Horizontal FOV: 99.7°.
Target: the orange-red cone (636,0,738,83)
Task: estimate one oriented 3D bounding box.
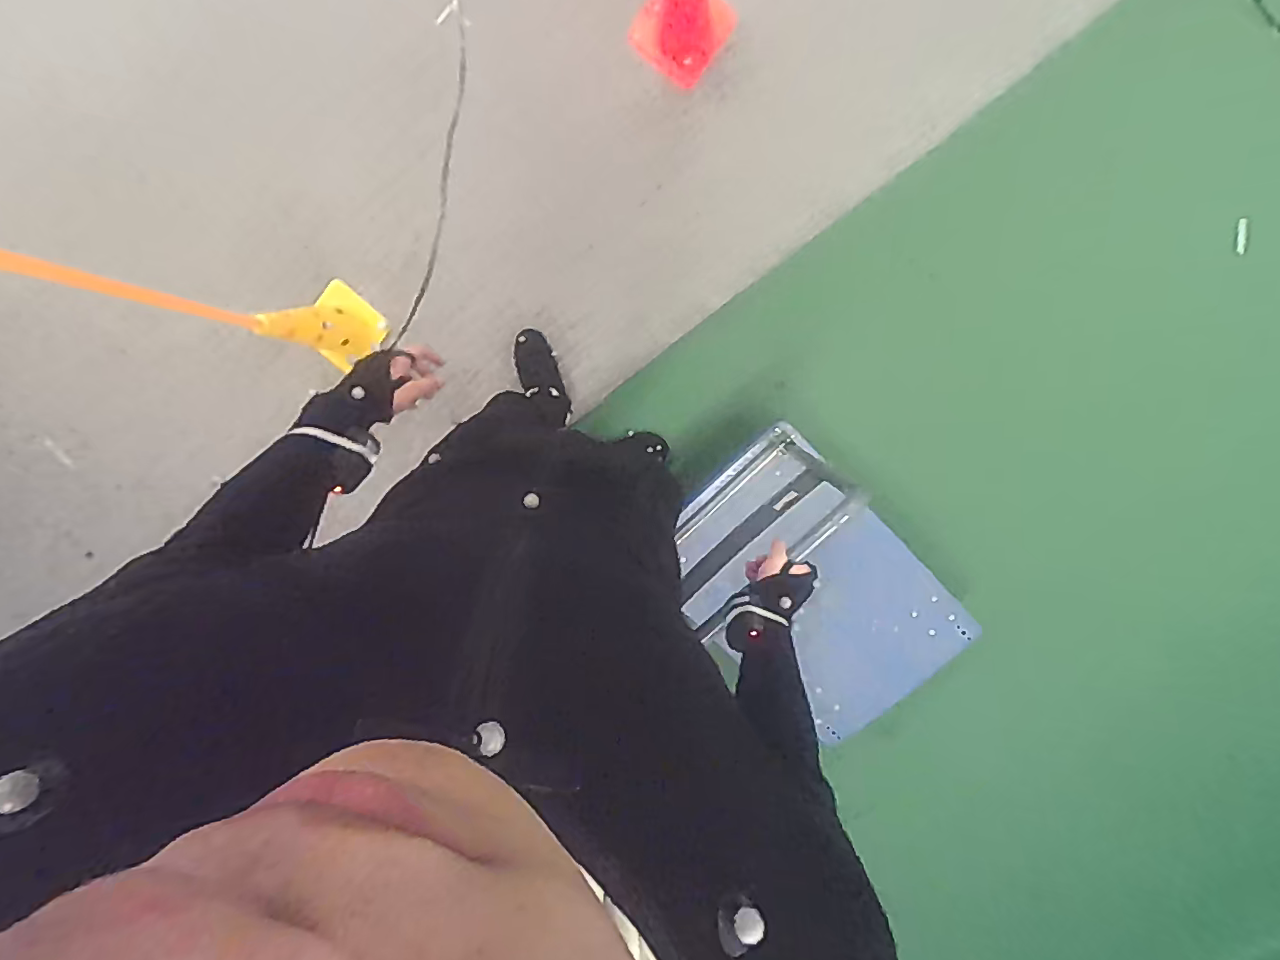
[{"bbox_3d":[0.113,-1.079,1.161,0.198,0.360,0.199,38,101,-8],"label":"orange-red cone"}]
